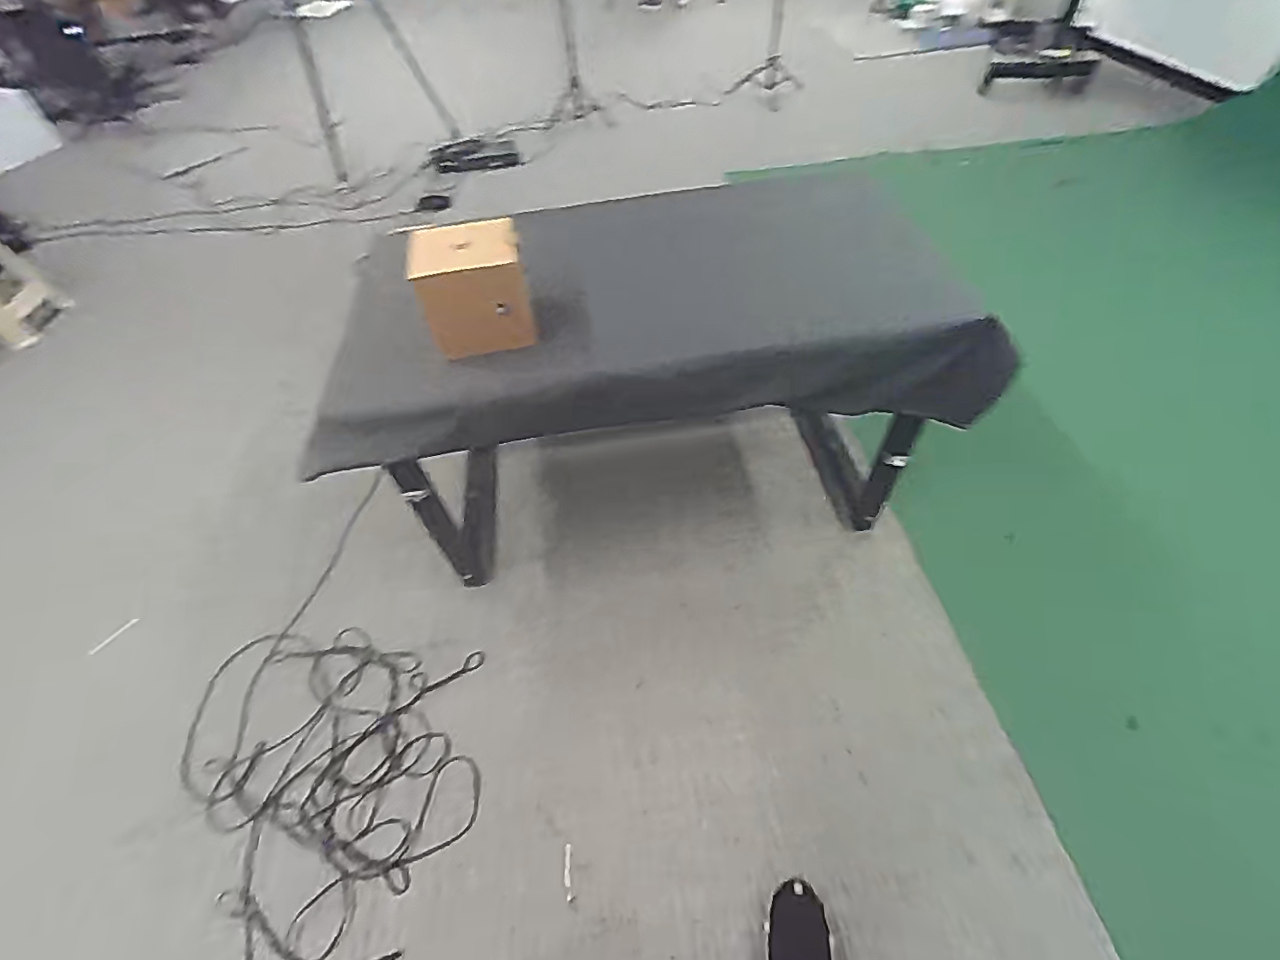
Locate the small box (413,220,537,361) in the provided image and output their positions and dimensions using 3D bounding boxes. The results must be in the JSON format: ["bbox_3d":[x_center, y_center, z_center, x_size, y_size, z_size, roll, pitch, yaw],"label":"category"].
[{"bbox_3d":[-0.288,-0.339,0.977,0.179,0.176,0.168,-12,50,-5],"label":"small box"}]
